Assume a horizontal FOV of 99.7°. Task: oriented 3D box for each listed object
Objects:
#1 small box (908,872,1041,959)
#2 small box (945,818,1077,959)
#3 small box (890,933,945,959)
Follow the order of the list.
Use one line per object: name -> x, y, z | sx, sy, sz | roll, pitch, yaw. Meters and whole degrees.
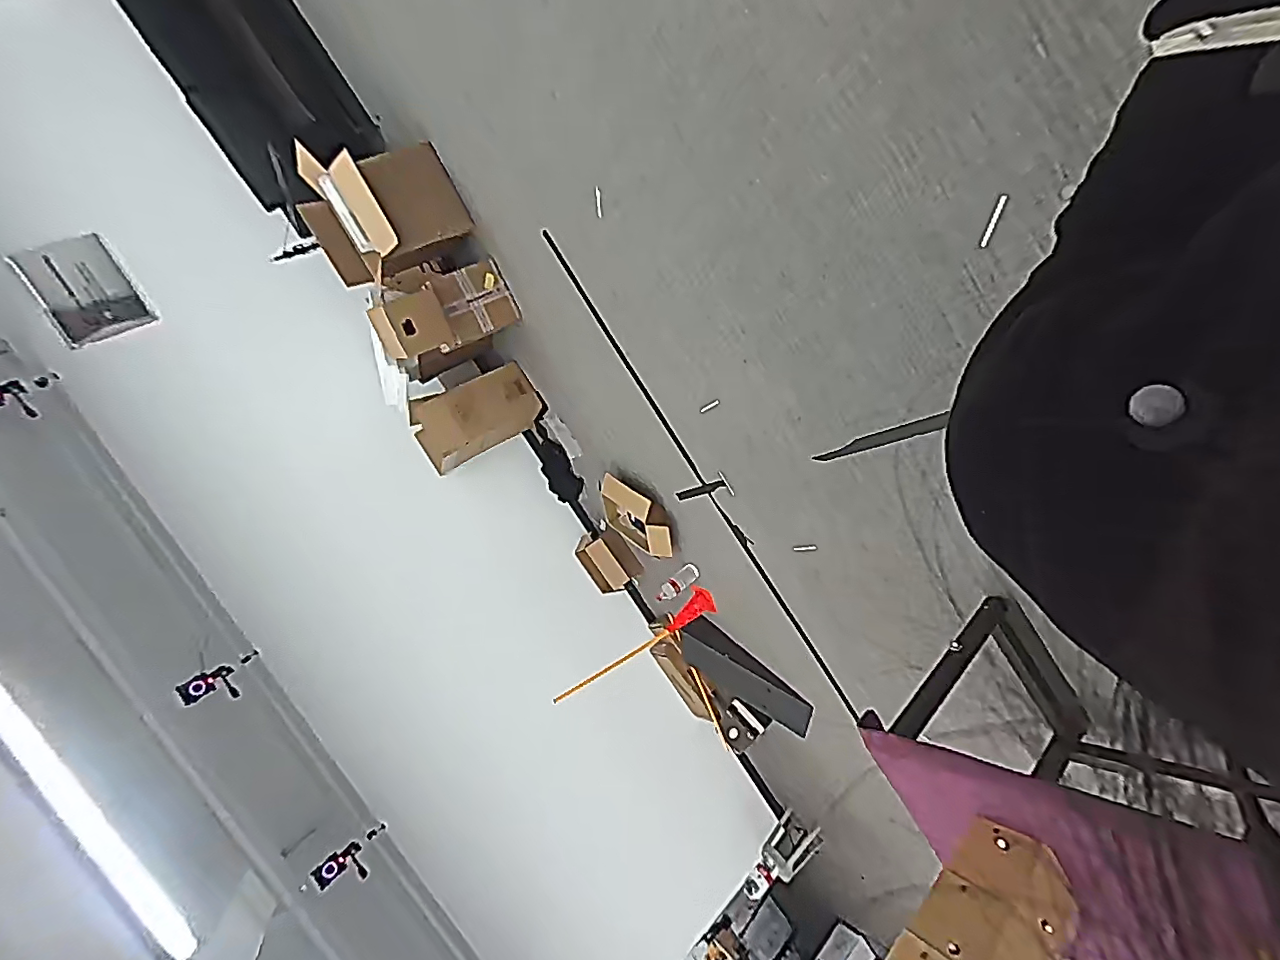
small box -> 0.727, 1.013, 1.166 | 0.179, 0.176, 0.168 | 59, 154, -9
small box -> 0.851, 0.932, 1.236 | 0.179, 0.176, 0.168 | 59, 154, -7
small box -> 0.602, 1.091, 1.096 | 0.179, 0.176, 0.168 | 59, 154, -9
